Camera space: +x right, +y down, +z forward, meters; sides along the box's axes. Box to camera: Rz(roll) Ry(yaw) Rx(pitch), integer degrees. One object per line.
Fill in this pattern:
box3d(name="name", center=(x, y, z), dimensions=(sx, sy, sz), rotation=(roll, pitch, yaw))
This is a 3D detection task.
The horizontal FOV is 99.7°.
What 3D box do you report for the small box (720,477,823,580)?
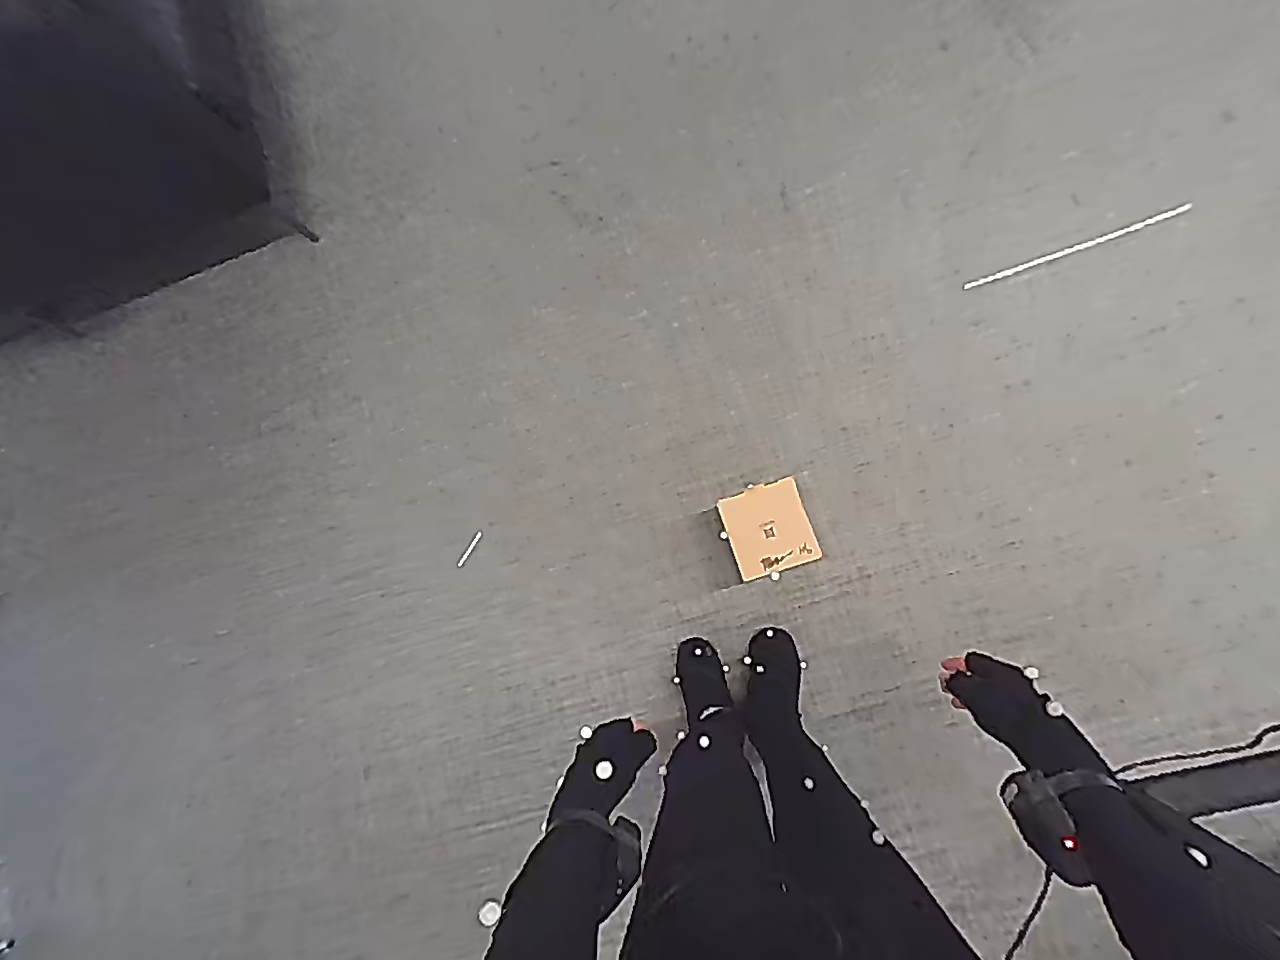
box3d(name="small box", center=(0.275, 0.110, 1.171), dimensions=(0.168, 0.176, 0.179), rotation=(-19, 80, 7))
